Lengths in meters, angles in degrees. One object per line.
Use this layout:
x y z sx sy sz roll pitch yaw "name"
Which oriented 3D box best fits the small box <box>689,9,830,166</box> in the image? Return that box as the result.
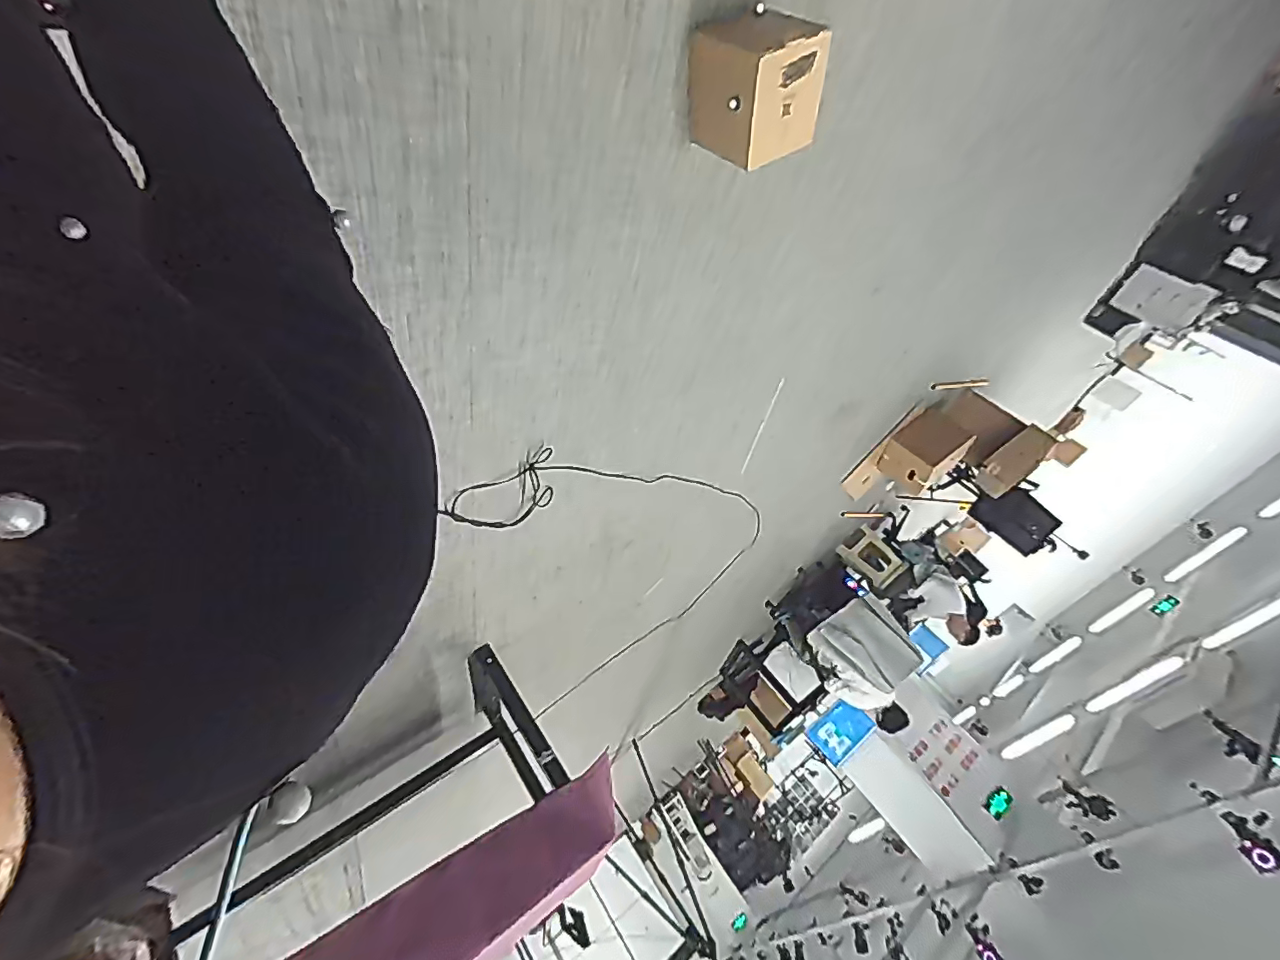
0.201 -0.701 0.959 0.168 0.176 0.179 -33 150 -17 "small box"
